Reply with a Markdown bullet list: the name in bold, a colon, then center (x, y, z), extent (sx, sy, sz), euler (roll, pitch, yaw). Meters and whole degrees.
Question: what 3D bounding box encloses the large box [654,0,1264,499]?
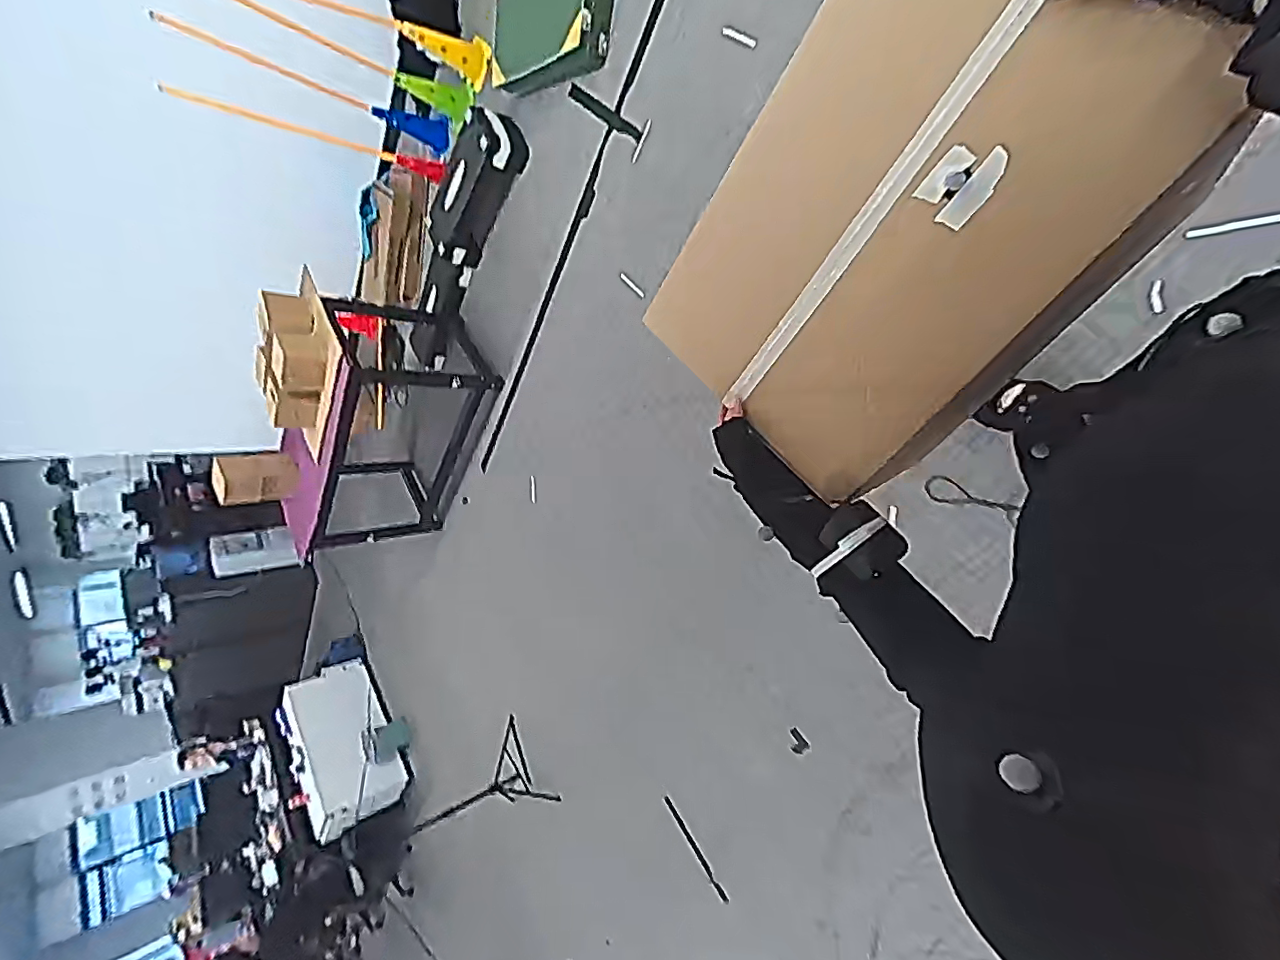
- **large box**: center (0.293, -0.241, 0.604), extent (0.320, 0.320, 0.408), euler (49, 124, 21)
